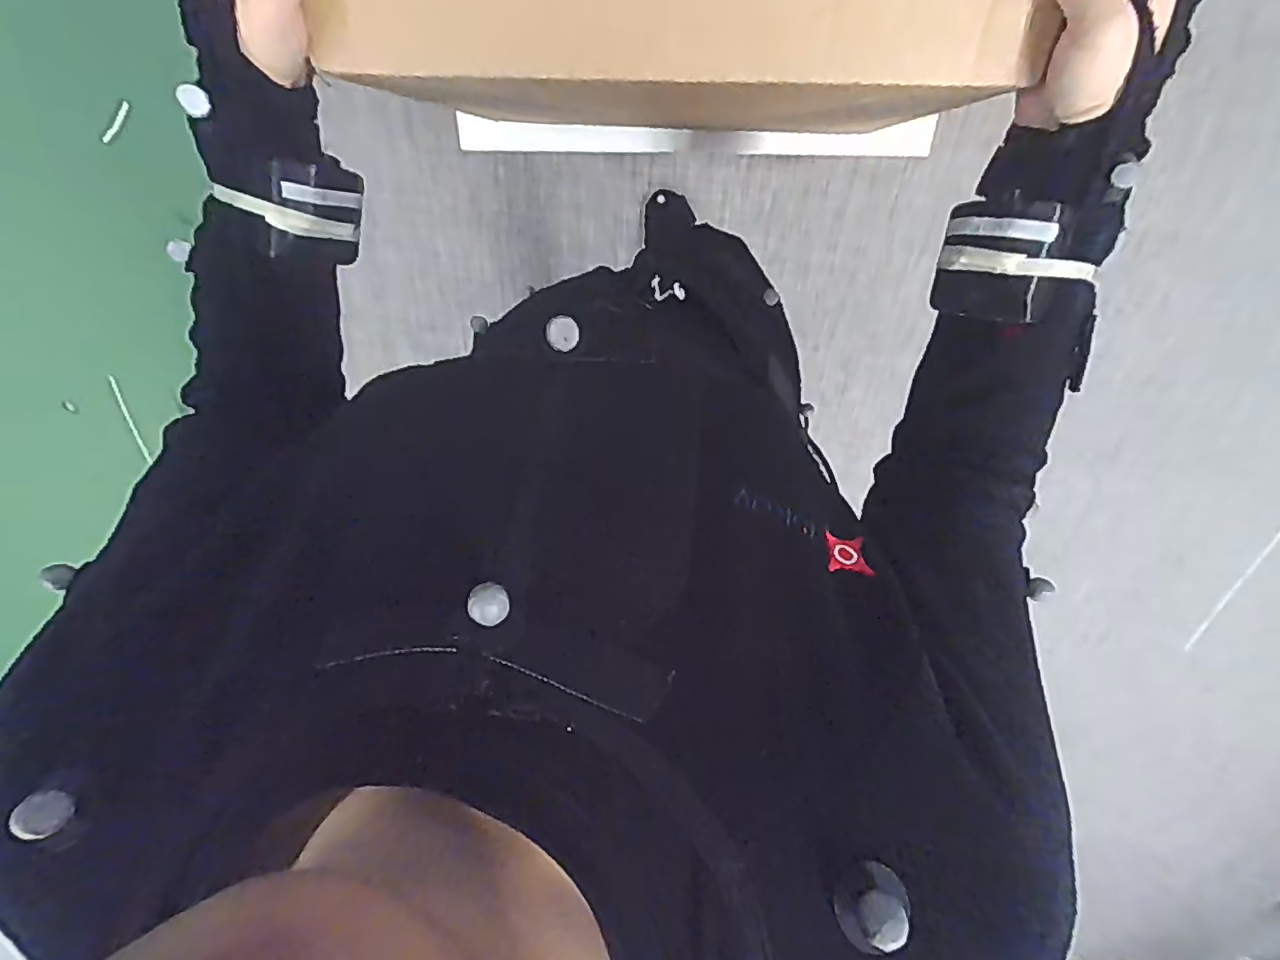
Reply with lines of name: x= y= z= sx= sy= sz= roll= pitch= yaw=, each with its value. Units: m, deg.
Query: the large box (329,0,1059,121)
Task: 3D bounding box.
large box: x=0.032 y=-0.441 z=0.363 sx=0.408 sy=0.320 sz=0.320 roll=3 pitch=120 yaw=3
